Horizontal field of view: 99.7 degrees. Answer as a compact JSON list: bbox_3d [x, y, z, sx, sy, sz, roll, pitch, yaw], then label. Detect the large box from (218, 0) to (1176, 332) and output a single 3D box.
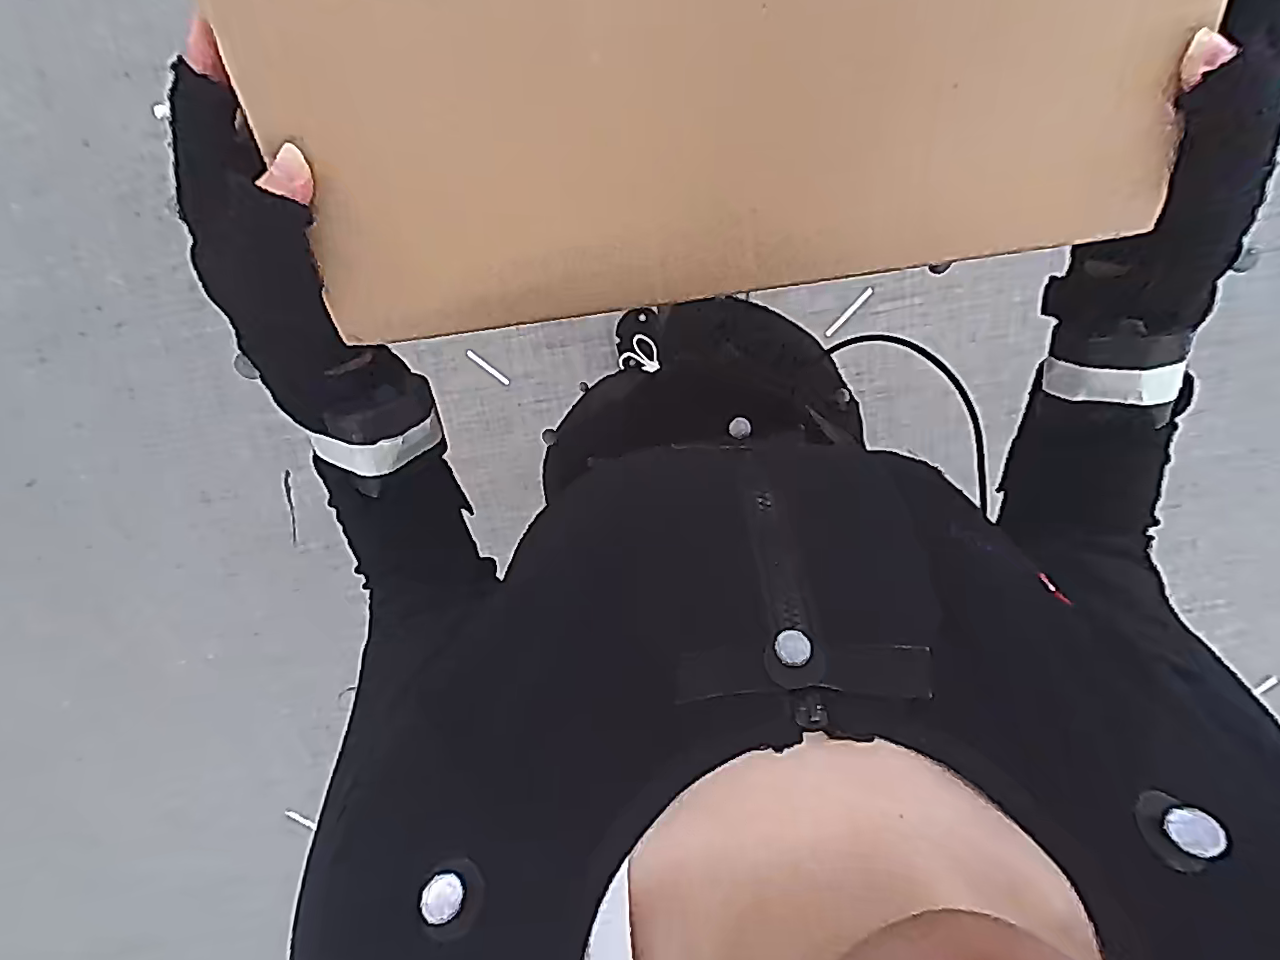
[{"bbox_3d":[0.020,-0.311,0.332,0.408,0.320,0.320,-7,119,3],"label":"large box"}]
